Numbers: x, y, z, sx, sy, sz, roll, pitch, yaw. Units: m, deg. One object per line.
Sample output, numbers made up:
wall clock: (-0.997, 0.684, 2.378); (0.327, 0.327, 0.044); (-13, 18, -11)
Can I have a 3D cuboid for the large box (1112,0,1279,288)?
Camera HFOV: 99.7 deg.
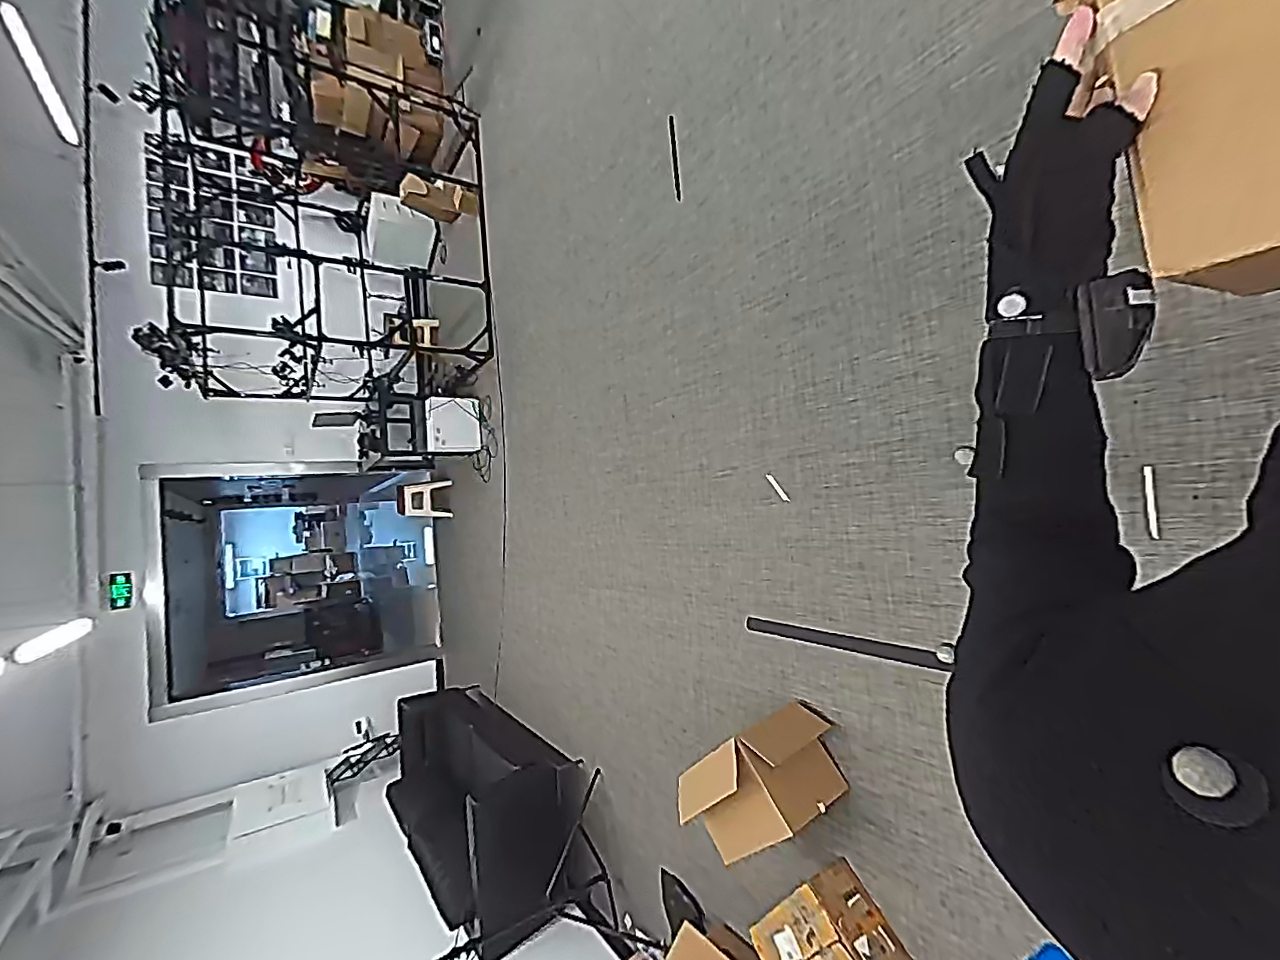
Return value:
large box: (0.517, -0.322, 0.252); (0.408, 0.320, 0.320); (-10, 91, 55)
